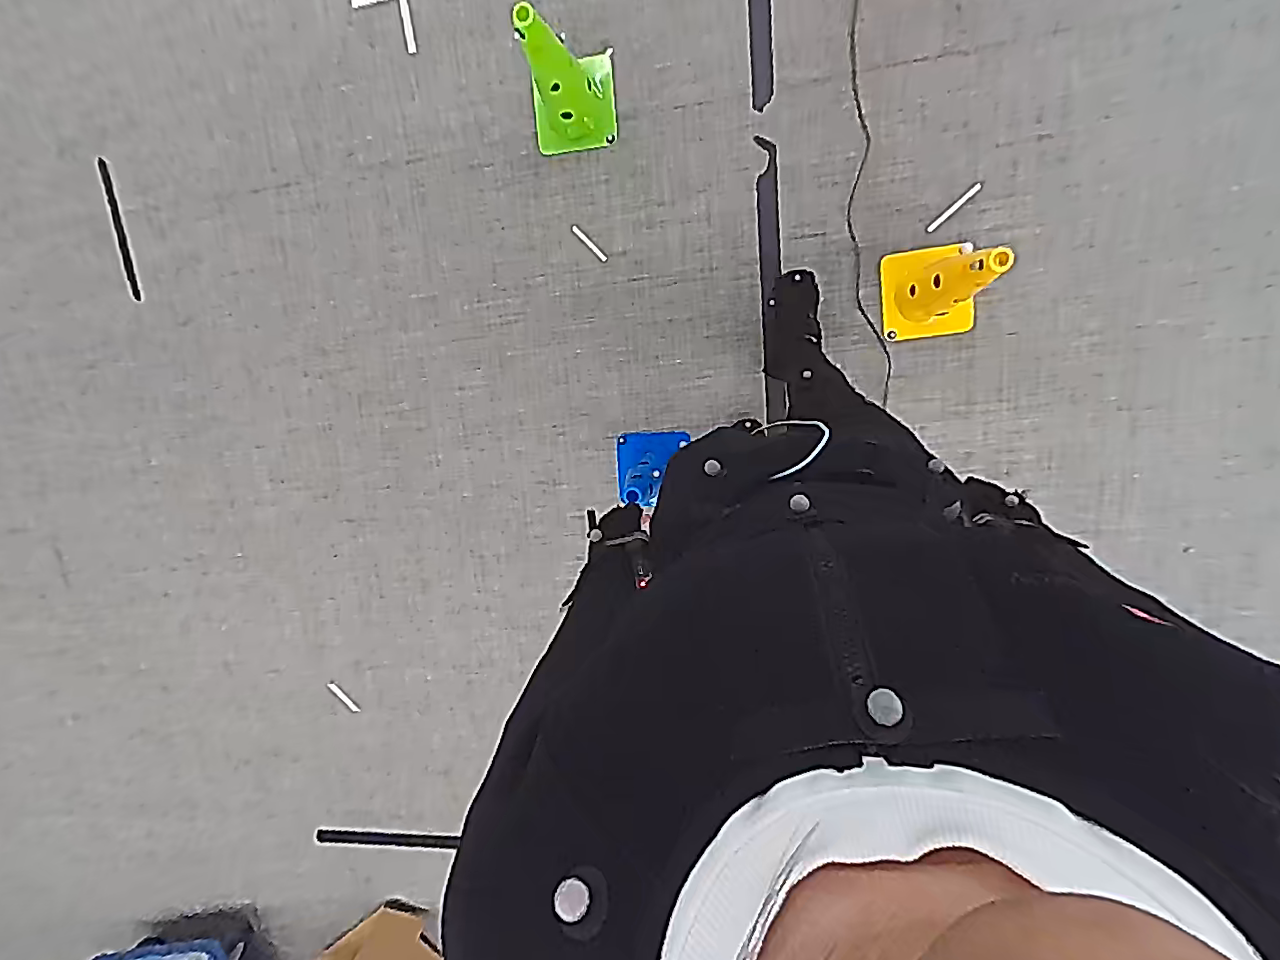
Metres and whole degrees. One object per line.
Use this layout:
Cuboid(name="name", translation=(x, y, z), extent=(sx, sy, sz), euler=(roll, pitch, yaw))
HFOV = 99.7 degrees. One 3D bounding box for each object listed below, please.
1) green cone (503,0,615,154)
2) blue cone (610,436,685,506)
Cuboid(name="green cone", translation=(-0.193, -0.883, 1.146), extent=(0.202, 0.368, 0.200), euler=(-3, 99, 11))
Cuboid(name="blue cone", translation=(-0.002, 0.005, 1.289), extent=(0.192, 0.380, 0.193), euler=(1, 100, 10))
